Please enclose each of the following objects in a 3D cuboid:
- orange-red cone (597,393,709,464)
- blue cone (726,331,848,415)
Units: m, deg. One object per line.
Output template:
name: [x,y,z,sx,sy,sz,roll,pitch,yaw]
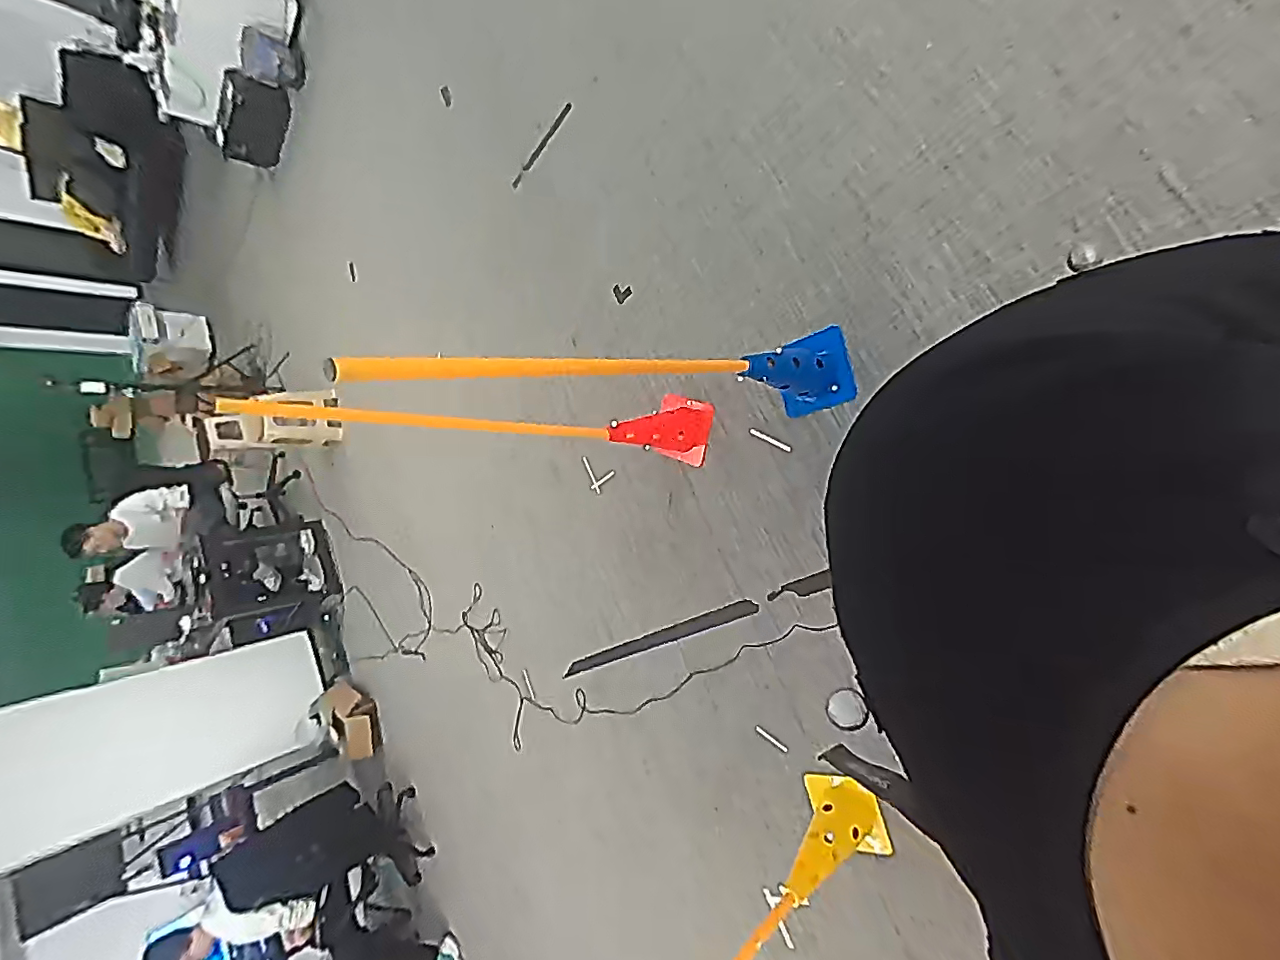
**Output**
orange-red cone: [0.014,-0.146,1.589,0.199,0.360,0.198,24,112,36]
blue cone: [0.335,-0.264,1.306,0.192,0.380,0.193,-14,86,43]
